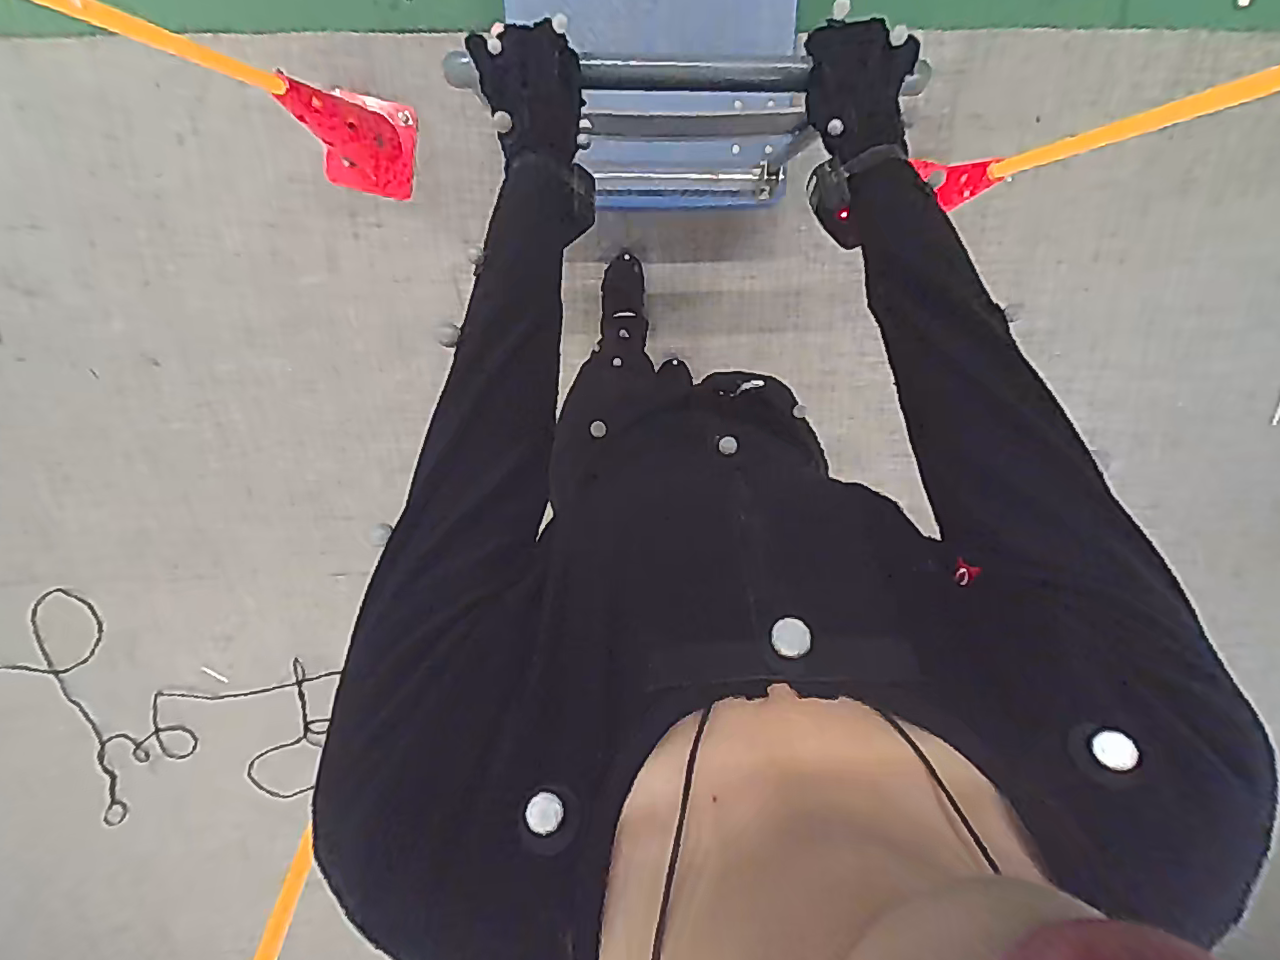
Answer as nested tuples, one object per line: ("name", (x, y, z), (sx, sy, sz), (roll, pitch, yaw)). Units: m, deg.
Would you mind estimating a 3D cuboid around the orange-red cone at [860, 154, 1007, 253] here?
("orange-red cone", (0.658, -0.622, 1.162), (0.198, 0.360, 0.199), (10, 108, -4))
